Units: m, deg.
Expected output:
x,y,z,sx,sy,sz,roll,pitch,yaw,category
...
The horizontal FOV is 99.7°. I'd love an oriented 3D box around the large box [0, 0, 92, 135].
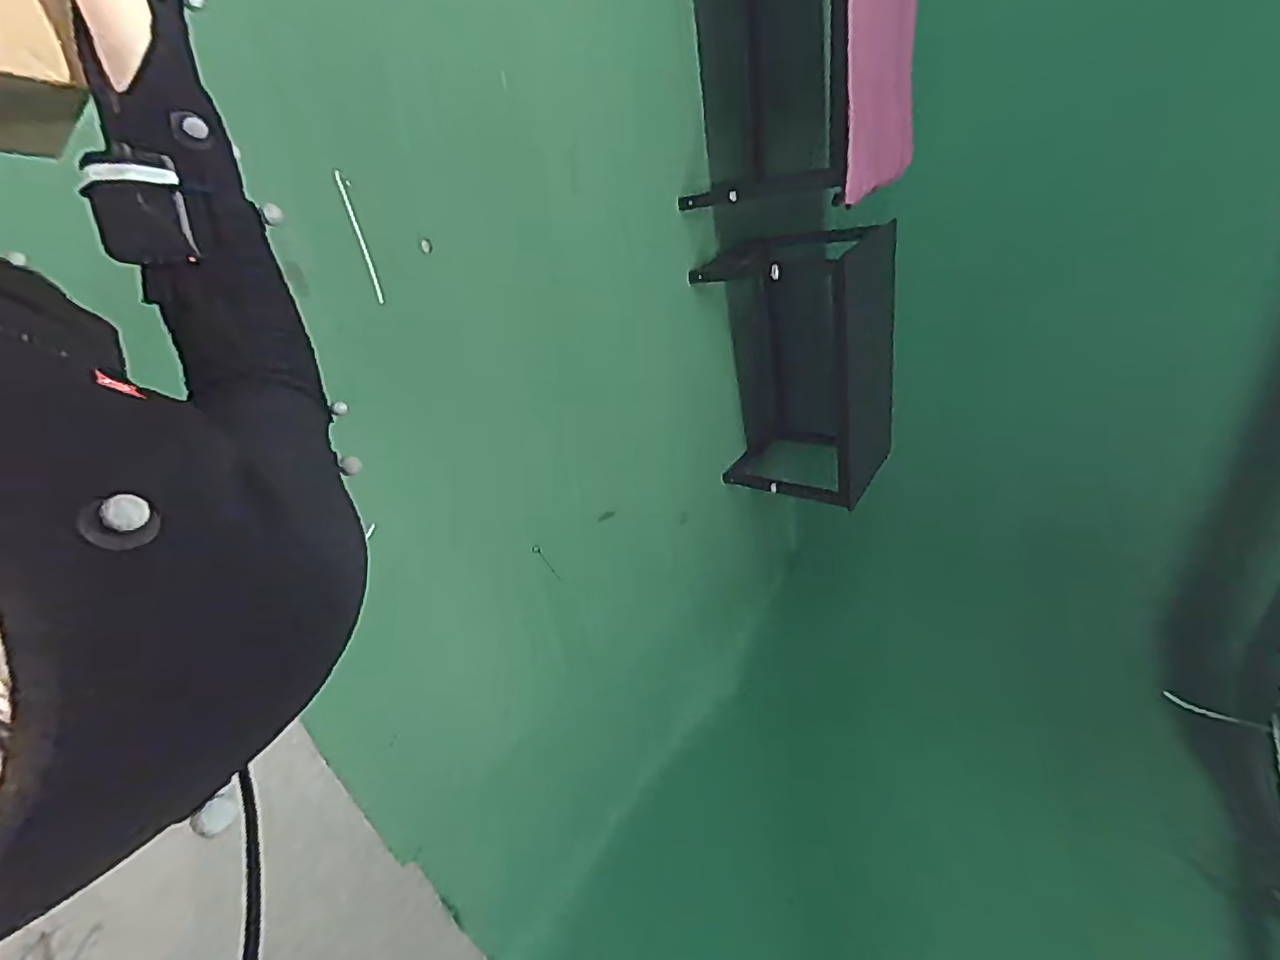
x,y,z,sx,sy,sz,roll,pitch,yaw,category
-0.591,-0.390,0.243,0.408,0.320,0.320,-21,120,-46,large box
